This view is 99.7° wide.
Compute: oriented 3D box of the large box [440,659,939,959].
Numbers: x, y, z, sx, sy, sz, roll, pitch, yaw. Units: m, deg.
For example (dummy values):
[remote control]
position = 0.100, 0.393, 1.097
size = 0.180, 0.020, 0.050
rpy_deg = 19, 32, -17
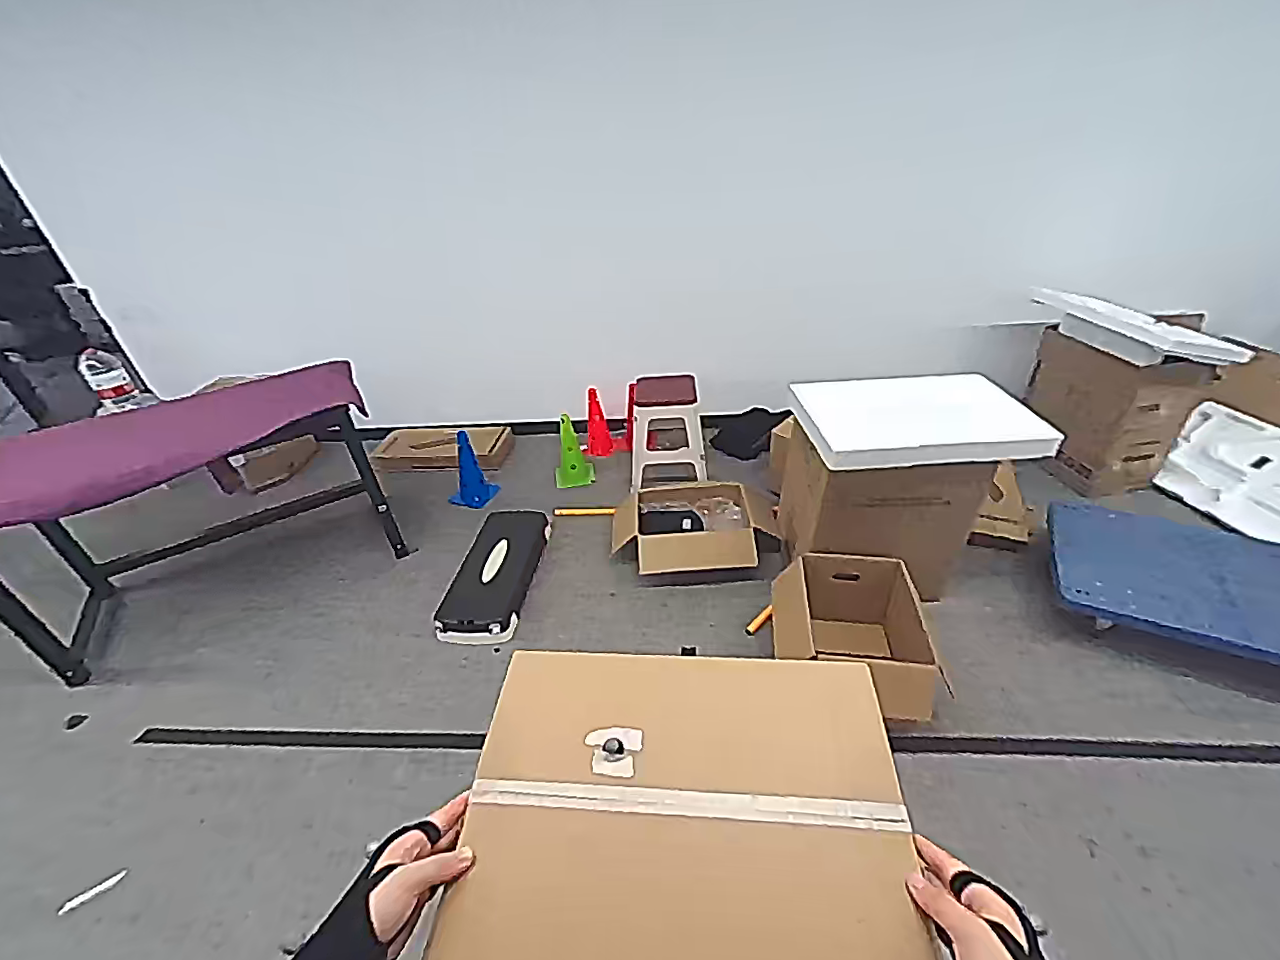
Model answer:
[large box]
position = 0.056, 0.423, 0.610
size = 0.408, 0.320, 0.320
rpy_deg = -2, 39, 7
